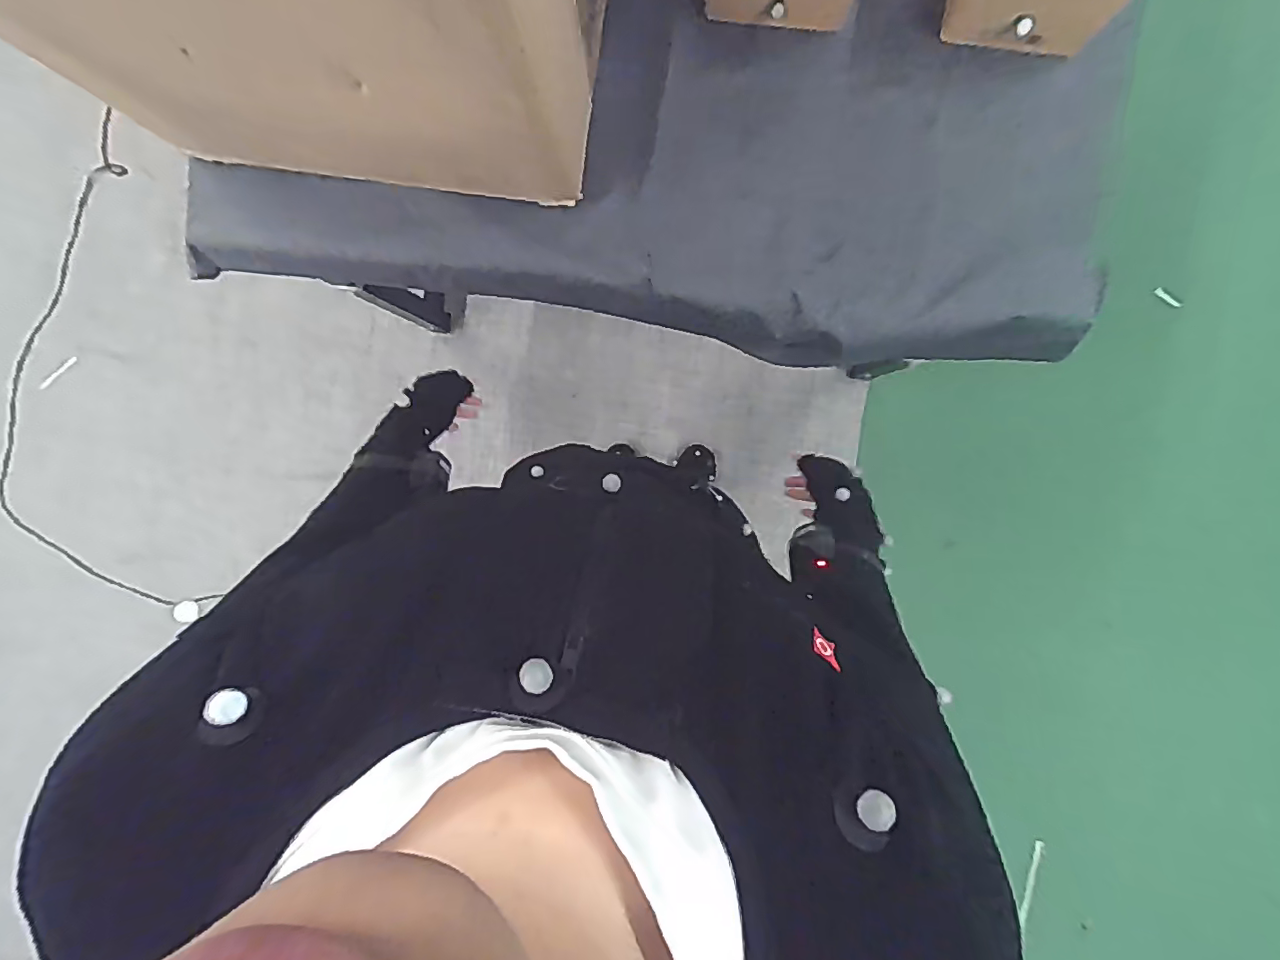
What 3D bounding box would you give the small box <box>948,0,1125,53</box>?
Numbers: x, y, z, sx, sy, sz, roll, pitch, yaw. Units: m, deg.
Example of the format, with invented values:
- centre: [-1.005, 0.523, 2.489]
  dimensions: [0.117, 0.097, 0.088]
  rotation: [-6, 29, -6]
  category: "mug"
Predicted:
- centre: [0.470, -0.624, 0.590]
  dimensions: [0.168, 0.176, 0.179]
  rotation: [10, 95, 3]
  category: "small box"
